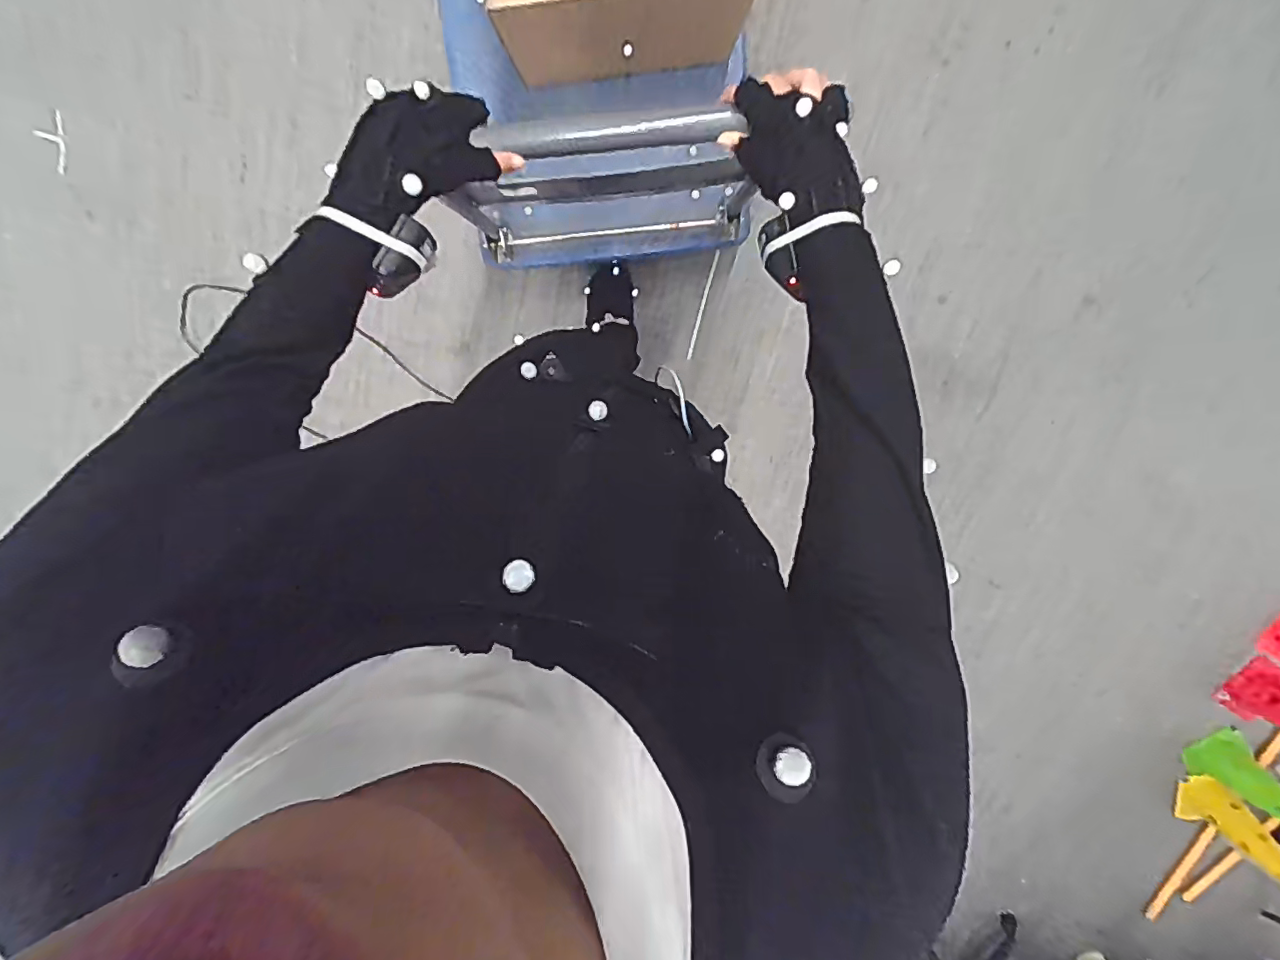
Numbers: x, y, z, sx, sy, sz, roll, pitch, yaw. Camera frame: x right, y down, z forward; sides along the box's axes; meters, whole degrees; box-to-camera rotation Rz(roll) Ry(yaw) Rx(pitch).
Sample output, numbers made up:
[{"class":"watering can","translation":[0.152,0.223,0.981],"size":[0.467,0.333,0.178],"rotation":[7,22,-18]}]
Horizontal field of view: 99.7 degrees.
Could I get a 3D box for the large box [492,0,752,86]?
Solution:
[{"class":"large box","translation":[-0.035,-0.899,0.880],"size":[0.408,0.320,0.320],"rotation":[-6,108,3]}]
